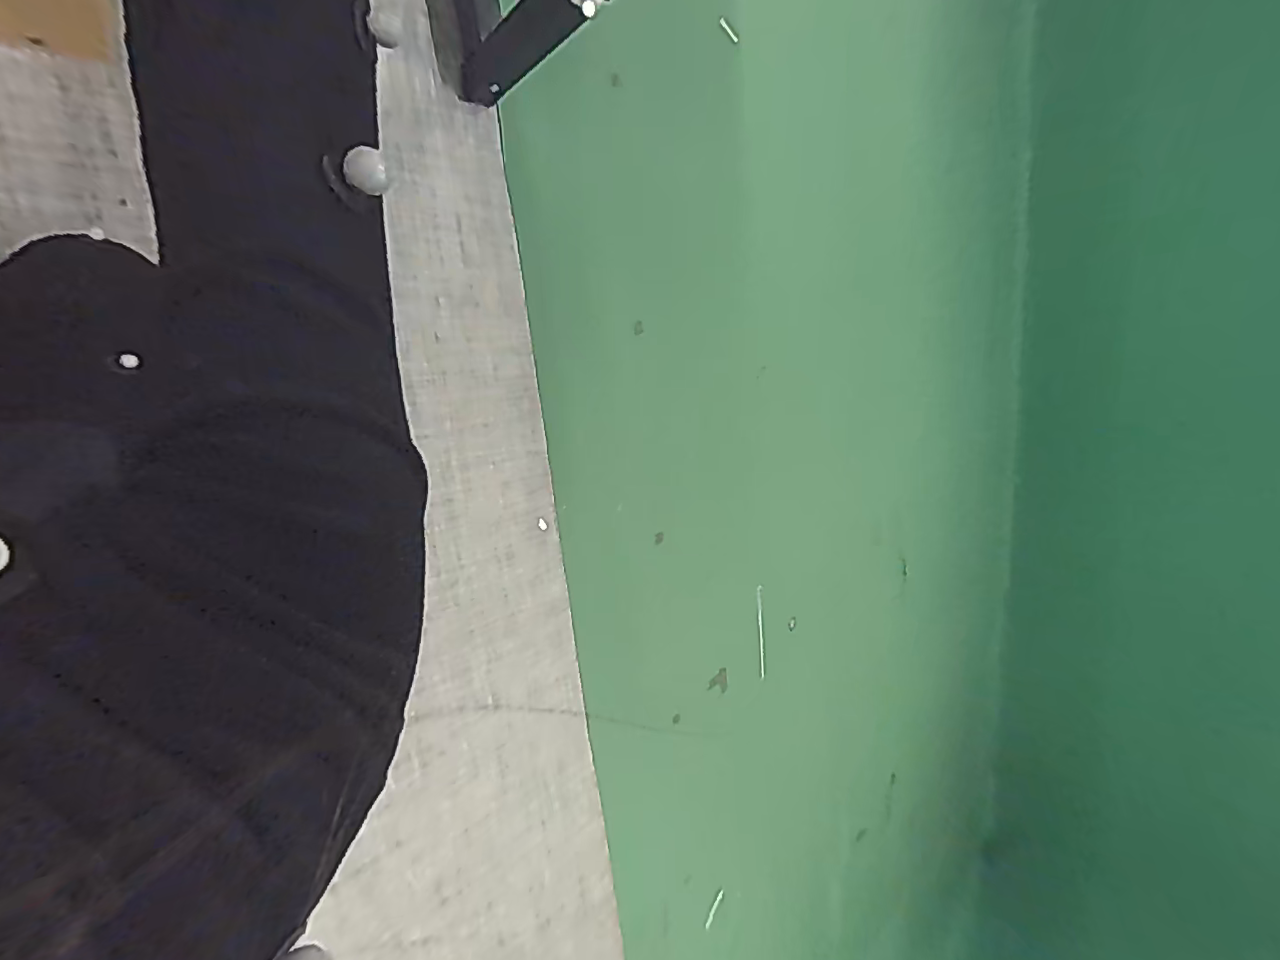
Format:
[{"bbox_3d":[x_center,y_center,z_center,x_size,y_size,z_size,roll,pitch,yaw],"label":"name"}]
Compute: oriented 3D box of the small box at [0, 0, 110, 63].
[{"bbox_3d":[-0.629,-0.543,0.501,0.168,0.176,0.179,-16,105,-40],"label":"small box"}]
